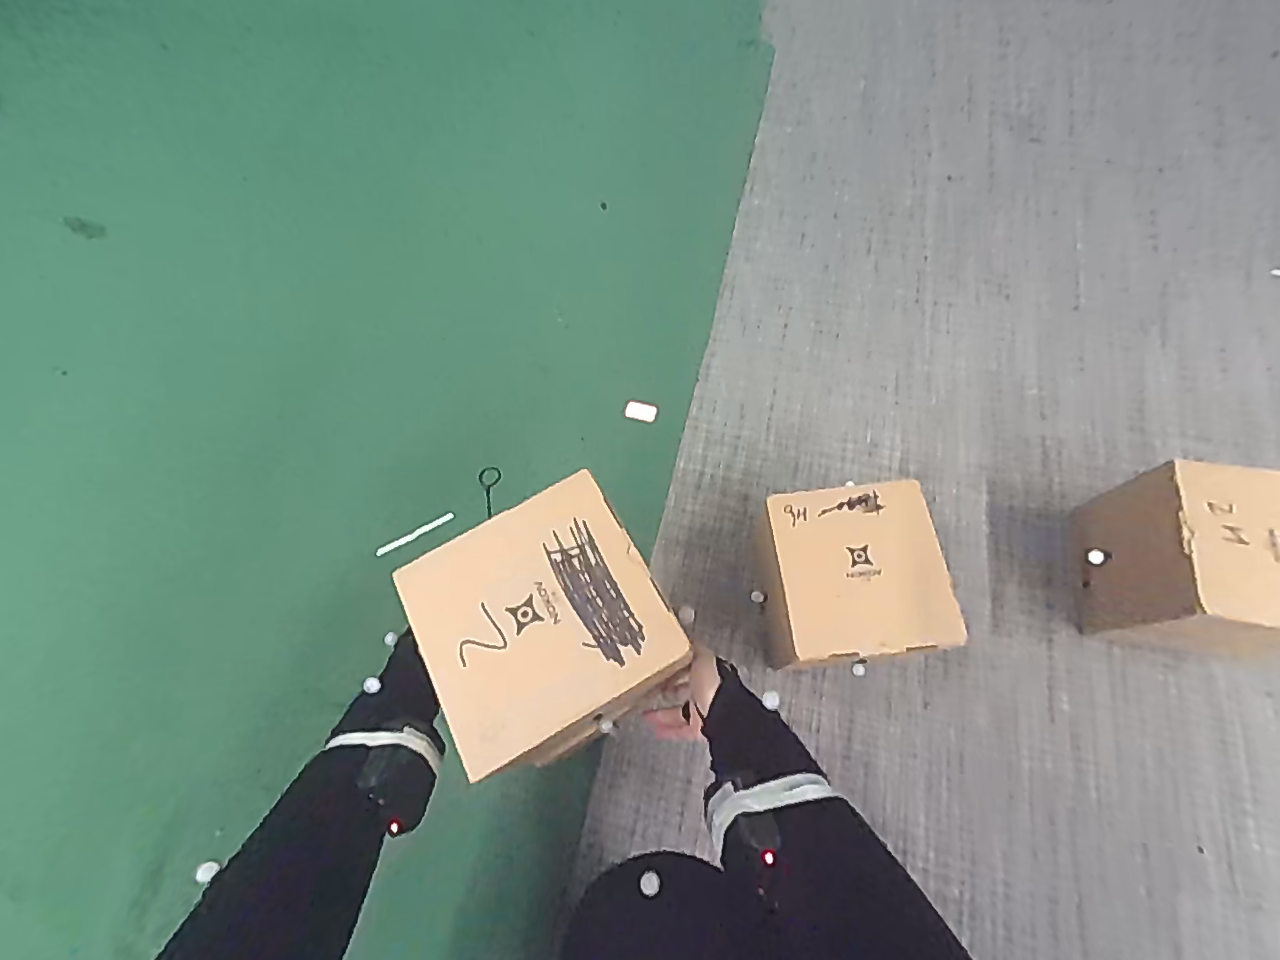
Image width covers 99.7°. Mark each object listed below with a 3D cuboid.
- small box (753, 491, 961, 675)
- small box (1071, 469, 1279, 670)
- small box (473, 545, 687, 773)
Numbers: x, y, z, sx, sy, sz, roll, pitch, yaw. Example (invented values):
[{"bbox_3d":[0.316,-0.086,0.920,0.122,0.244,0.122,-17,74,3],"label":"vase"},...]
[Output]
[{"bbox_3d":[0.230,0.129,0.626,0.168,0.176,0.179,-6,67,3],"label":"small box"},{"bbox_3d":[0.627,0.107,0.594,0.179,0.176,0.168,9,67,9],"label":"small box"},{"bbox_3d":[-0.057,0.207,0.621,0.179,0.176,0.168,-29,67,-9],"label":"small box"}]
